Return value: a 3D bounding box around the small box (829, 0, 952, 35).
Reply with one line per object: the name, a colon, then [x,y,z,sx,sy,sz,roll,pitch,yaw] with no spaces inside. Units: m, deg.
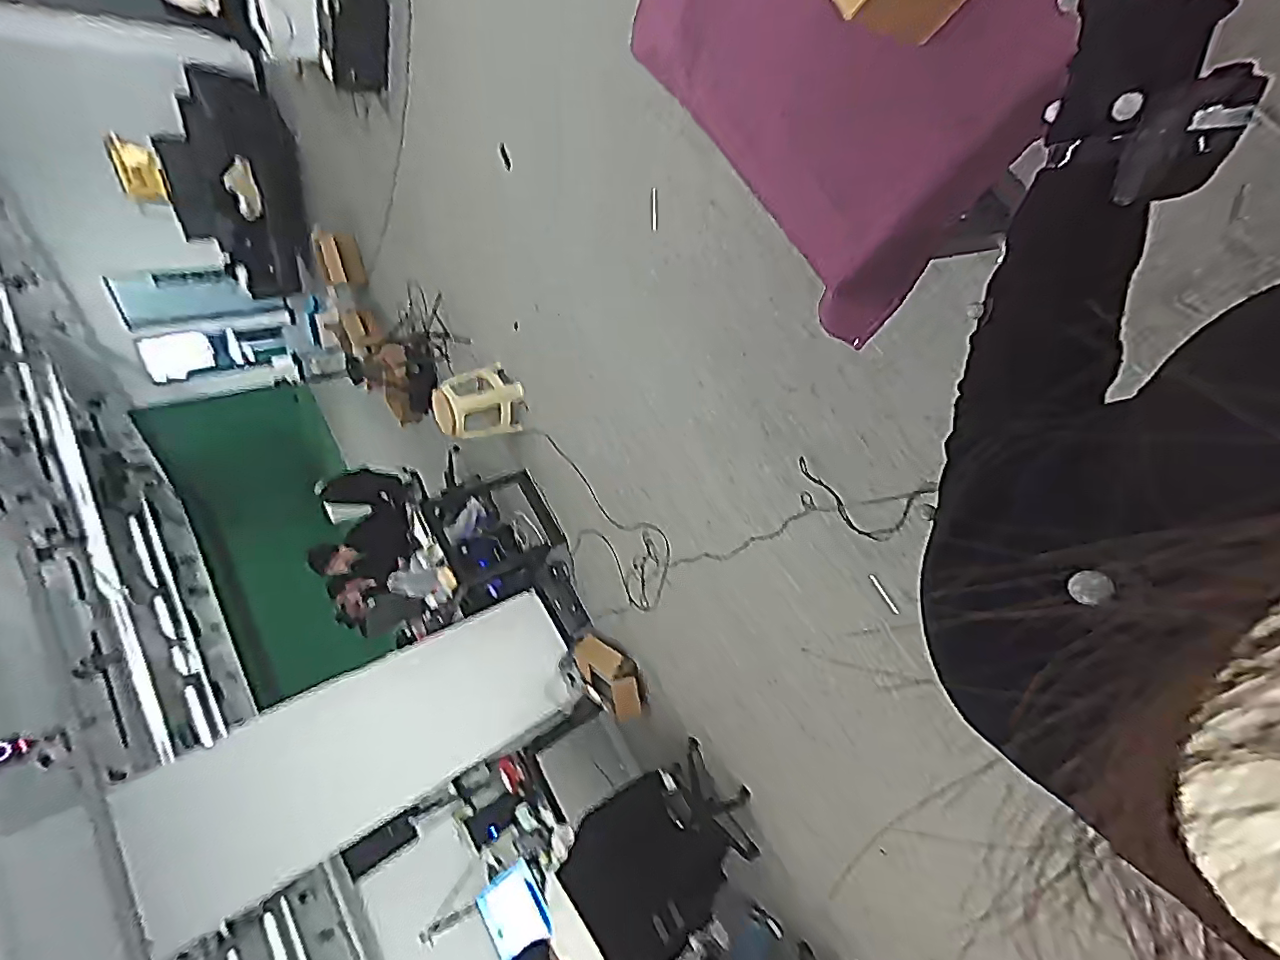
small box: [0.275,-0.598,0.545,0.168,0.176,0.179,-31,83,54]
